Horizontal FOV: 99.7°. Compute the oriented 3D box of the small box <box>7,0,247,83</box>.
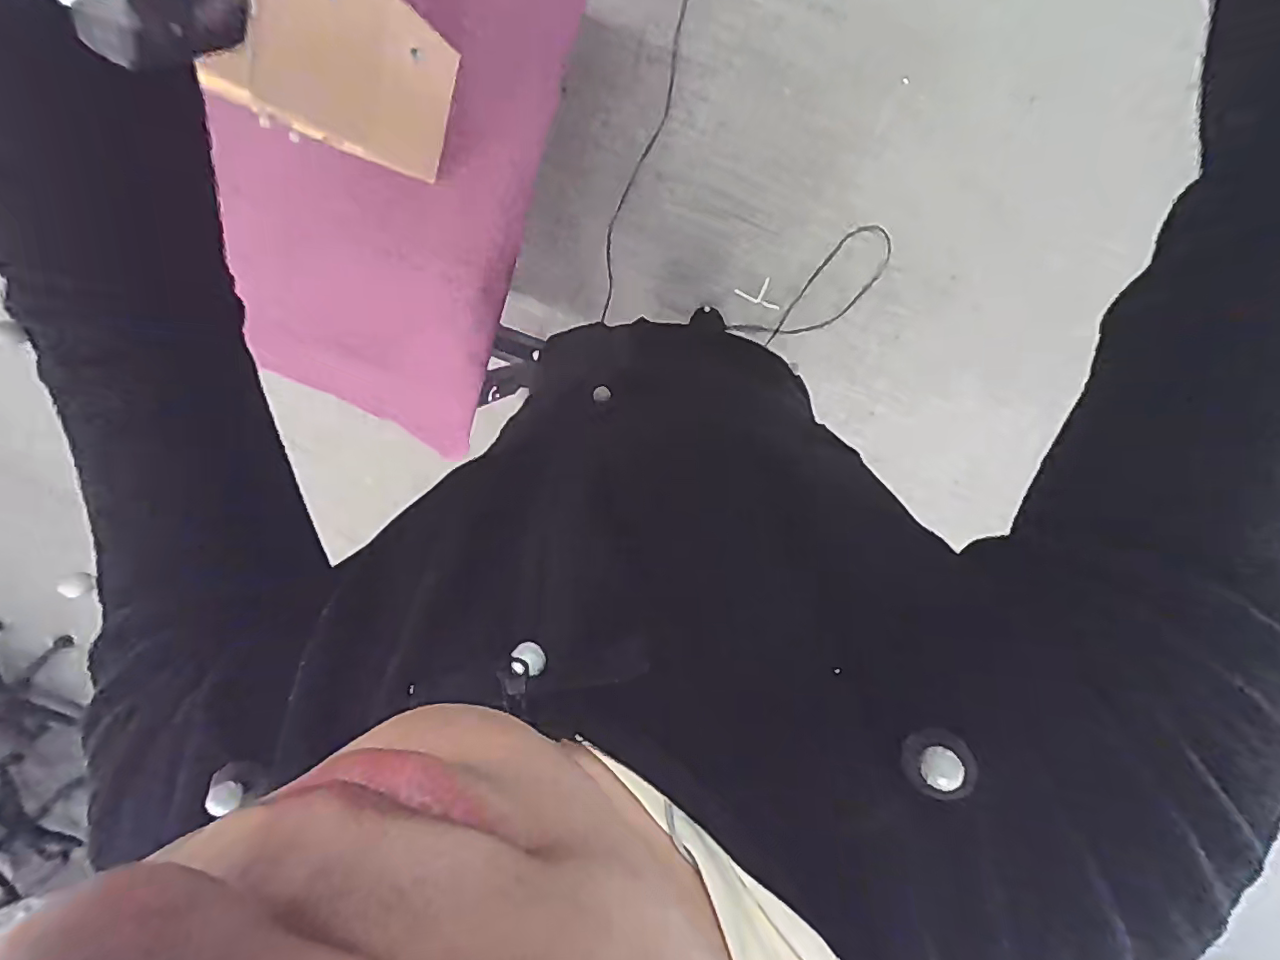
[{"bbox_3d":[-0.438,-0.448,0.417,0.179,0.176,0.168,21,108,3],"label":"small box"}]

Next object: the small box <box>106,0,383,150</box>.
[{"bbox_3d":[-0.403,-0.490,0.571,0.168,0.176,0.179,22,109,4],"label":"small box"}]
